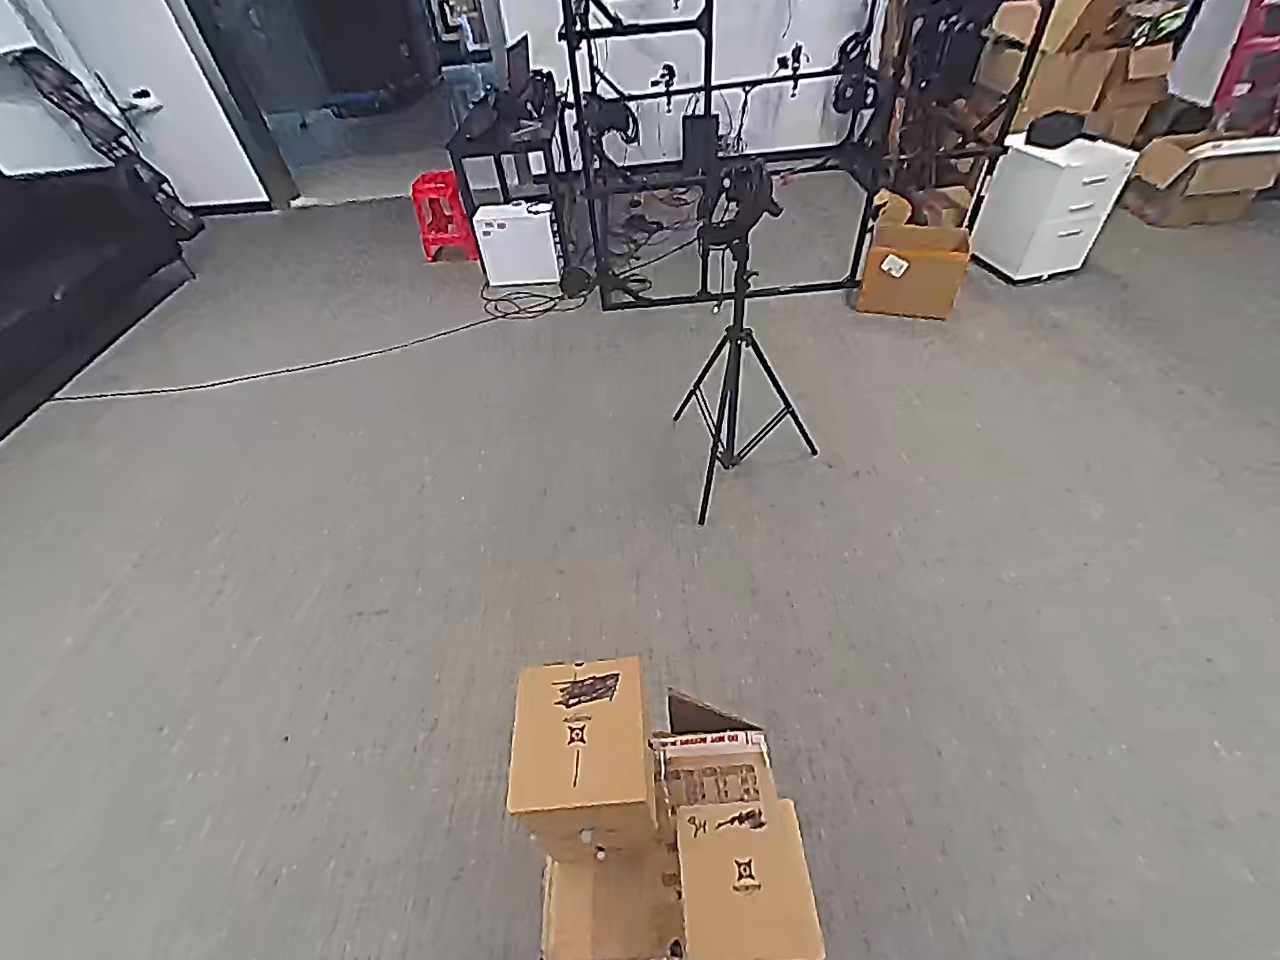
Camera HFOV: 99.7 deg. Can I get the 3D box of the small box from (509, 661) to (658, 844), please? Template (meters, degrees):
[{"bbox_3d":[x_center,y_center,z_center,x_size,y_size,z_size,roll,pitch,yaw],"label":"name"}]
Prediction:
[{"bbox_3d":[-0.067,0.369,0.730,0.168,0.176,0.179,-6,48,2],"label":"small box"}]

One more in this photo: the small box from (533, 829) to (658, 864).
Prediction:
[{"bbox_3d":[-0.067,0.480,0.853,0.168,0.176,0.179,-9,47,0],"label":"small box"}]

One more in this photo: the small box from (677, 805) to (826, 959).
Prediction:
[{"bbox_3d":[0.140,0.569,0.745,0.168,0.176,0.179,-4,47,0],"label":"small box"}]
